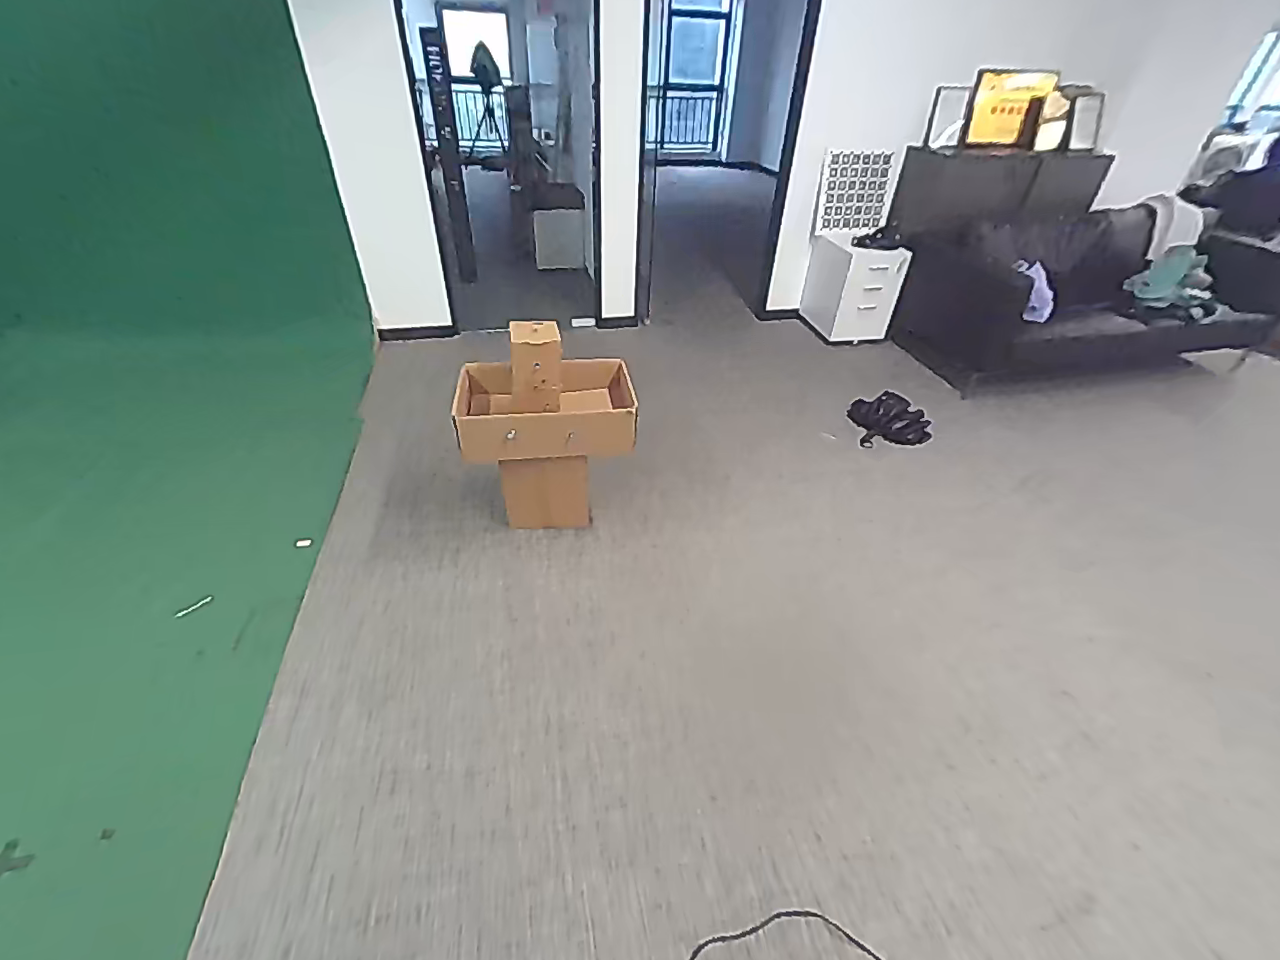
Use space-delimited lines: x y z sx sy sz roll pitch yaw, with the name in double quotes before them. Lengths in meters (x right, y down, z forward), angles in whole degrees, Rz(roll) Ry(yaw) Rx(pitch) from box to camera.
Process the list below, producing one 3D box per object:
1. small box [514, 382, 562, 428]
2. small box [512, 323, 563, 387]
"small box" -0.373 -0.301 1.990 0.168 0.176 0.179 -2 36 -11
"small box" -0.360 -0.435 1.898 0.168 0.176 0.179 -4 39 -13
